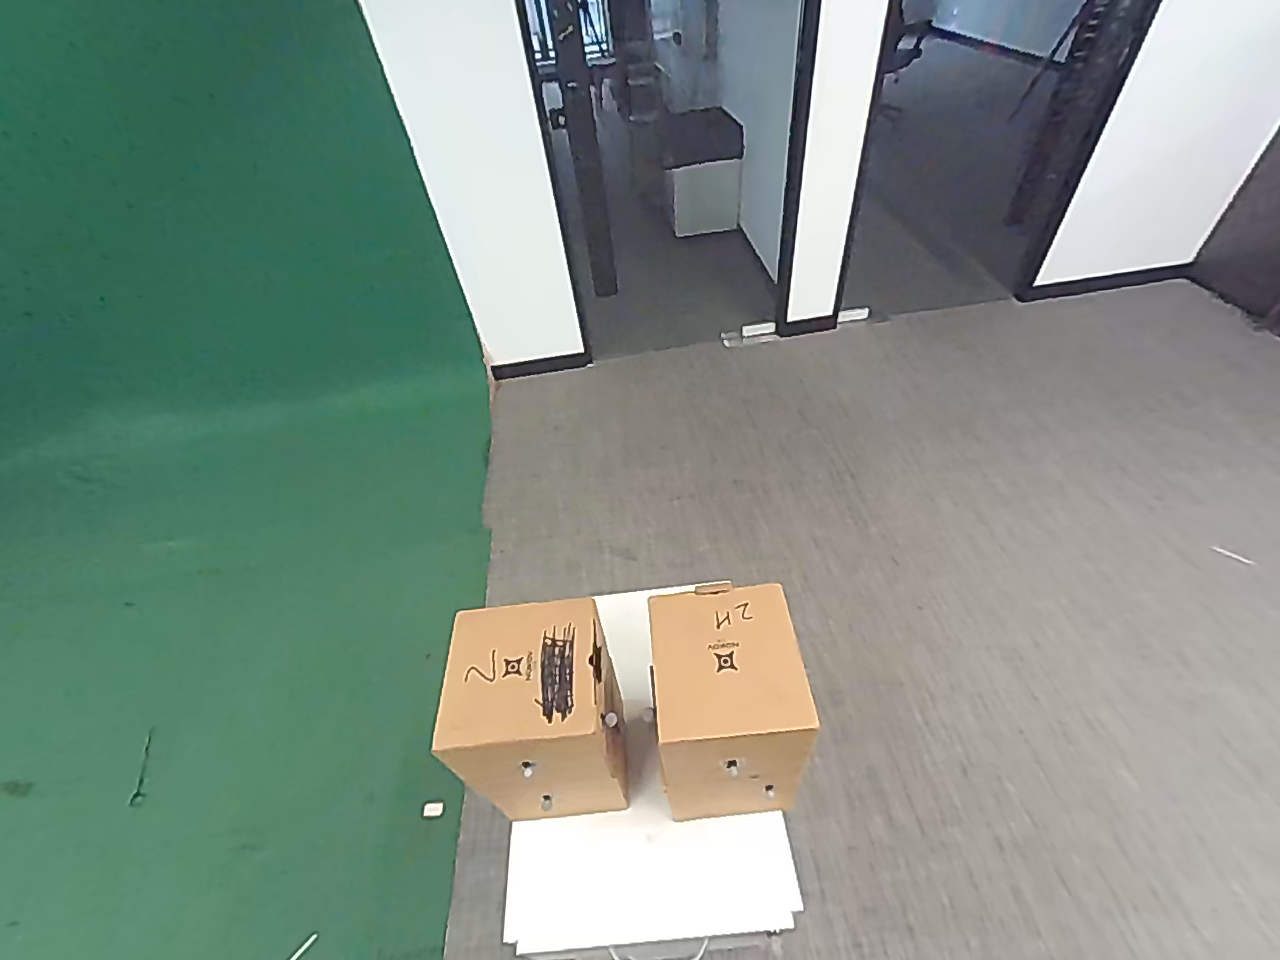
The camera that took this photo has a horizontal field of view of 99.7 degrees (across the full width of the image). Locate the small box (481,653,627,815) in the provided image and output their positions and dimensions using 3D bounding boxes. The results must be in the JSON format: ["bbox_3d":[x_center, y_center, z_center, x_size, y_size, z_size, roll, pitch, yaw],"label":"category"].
[{"bbox_3d":[-0.117,0.378,0.798,0.179,0.176,0.168,-6,47,-1],"label":"small box"}]

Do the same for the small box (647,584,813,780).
[{"bbox_3d":[0.101,0.252,0.662,0.168,0.176,0.179,-5,46,1],"label":"small box"}]
